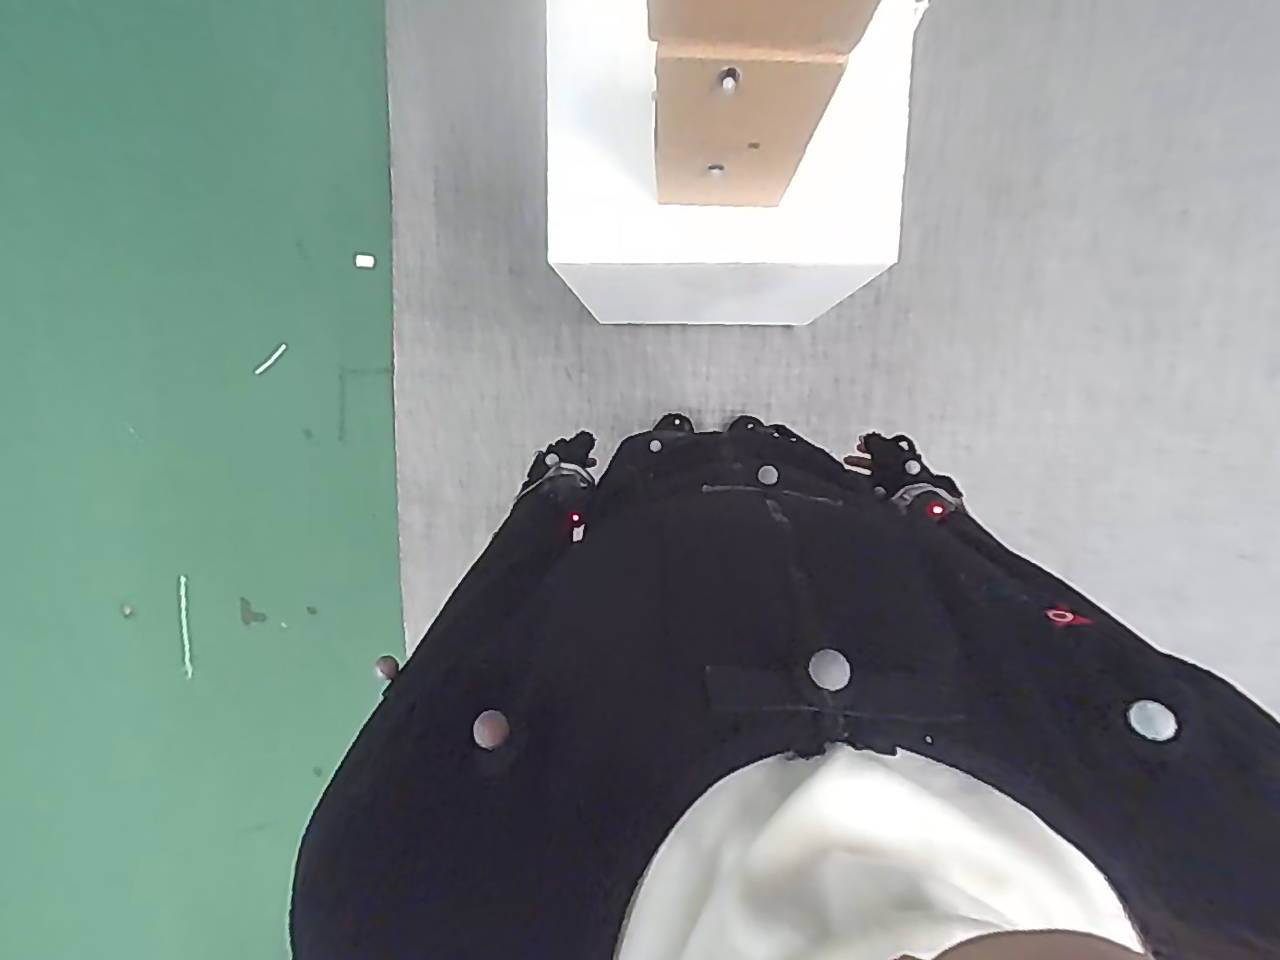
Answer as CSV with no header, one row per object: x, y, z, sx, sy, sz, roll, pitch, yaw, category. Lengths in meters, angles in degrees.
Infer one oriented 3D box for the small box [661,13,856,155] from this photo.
0.106,-0.455,0.534,0.168,0.176,0.179,2,97,2,small box

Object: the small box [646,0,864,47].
0.093,-0.439,0.370,0.179,0.176,0.168,5,99,2,small box

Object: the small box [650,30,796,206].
0.109,-0.470,0.694,0.179,0.176,0.168,4,97,3,small box
